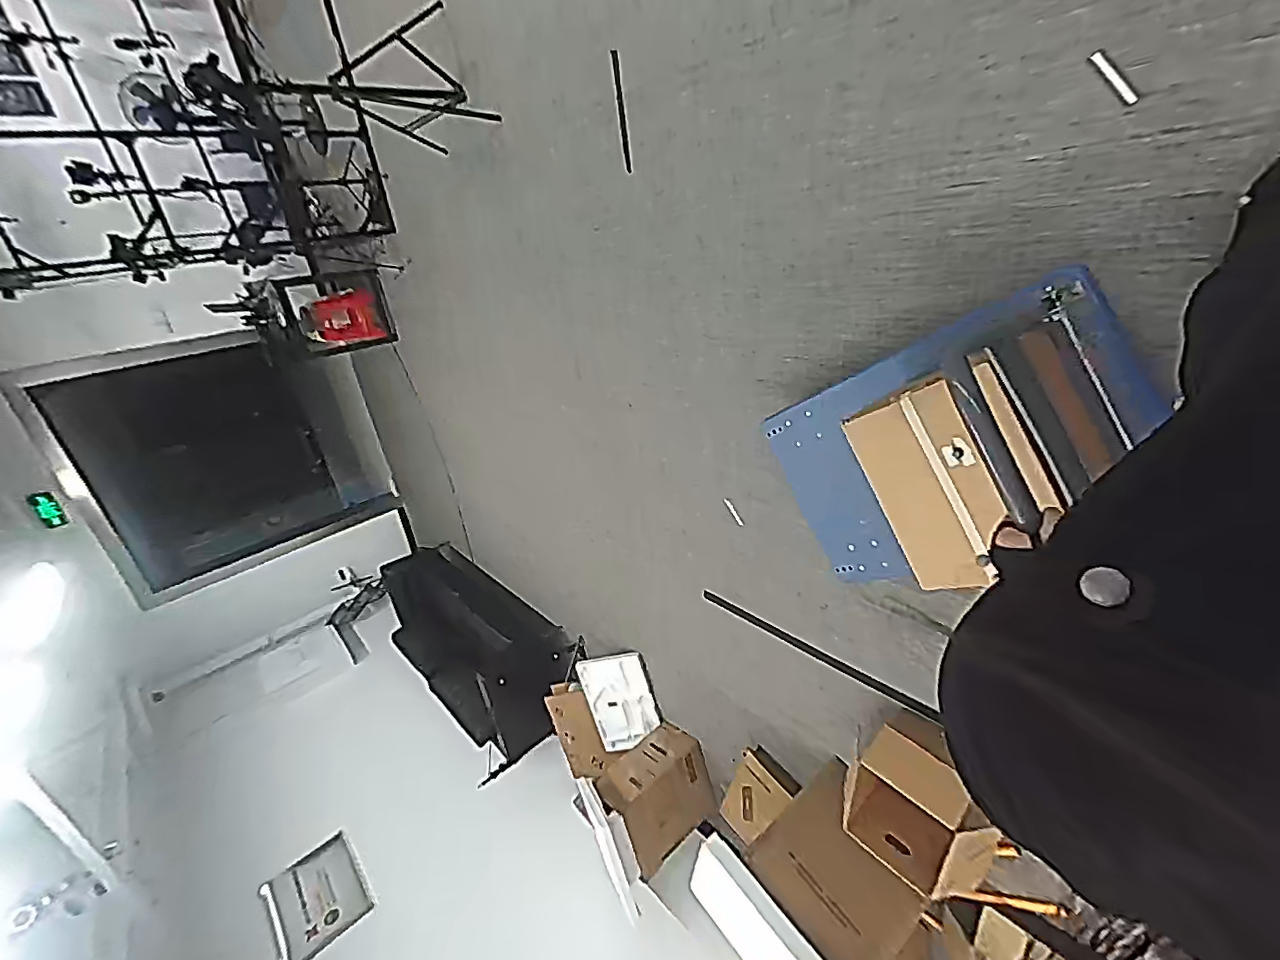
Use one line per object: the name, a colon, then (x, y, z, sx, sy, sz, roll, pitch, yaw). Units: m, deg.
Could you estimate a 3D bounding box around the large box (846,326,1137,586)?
large box: (0.716, -0.043, 1.115, 0.320, 0.320, 0.408, -28, 88, 55)
